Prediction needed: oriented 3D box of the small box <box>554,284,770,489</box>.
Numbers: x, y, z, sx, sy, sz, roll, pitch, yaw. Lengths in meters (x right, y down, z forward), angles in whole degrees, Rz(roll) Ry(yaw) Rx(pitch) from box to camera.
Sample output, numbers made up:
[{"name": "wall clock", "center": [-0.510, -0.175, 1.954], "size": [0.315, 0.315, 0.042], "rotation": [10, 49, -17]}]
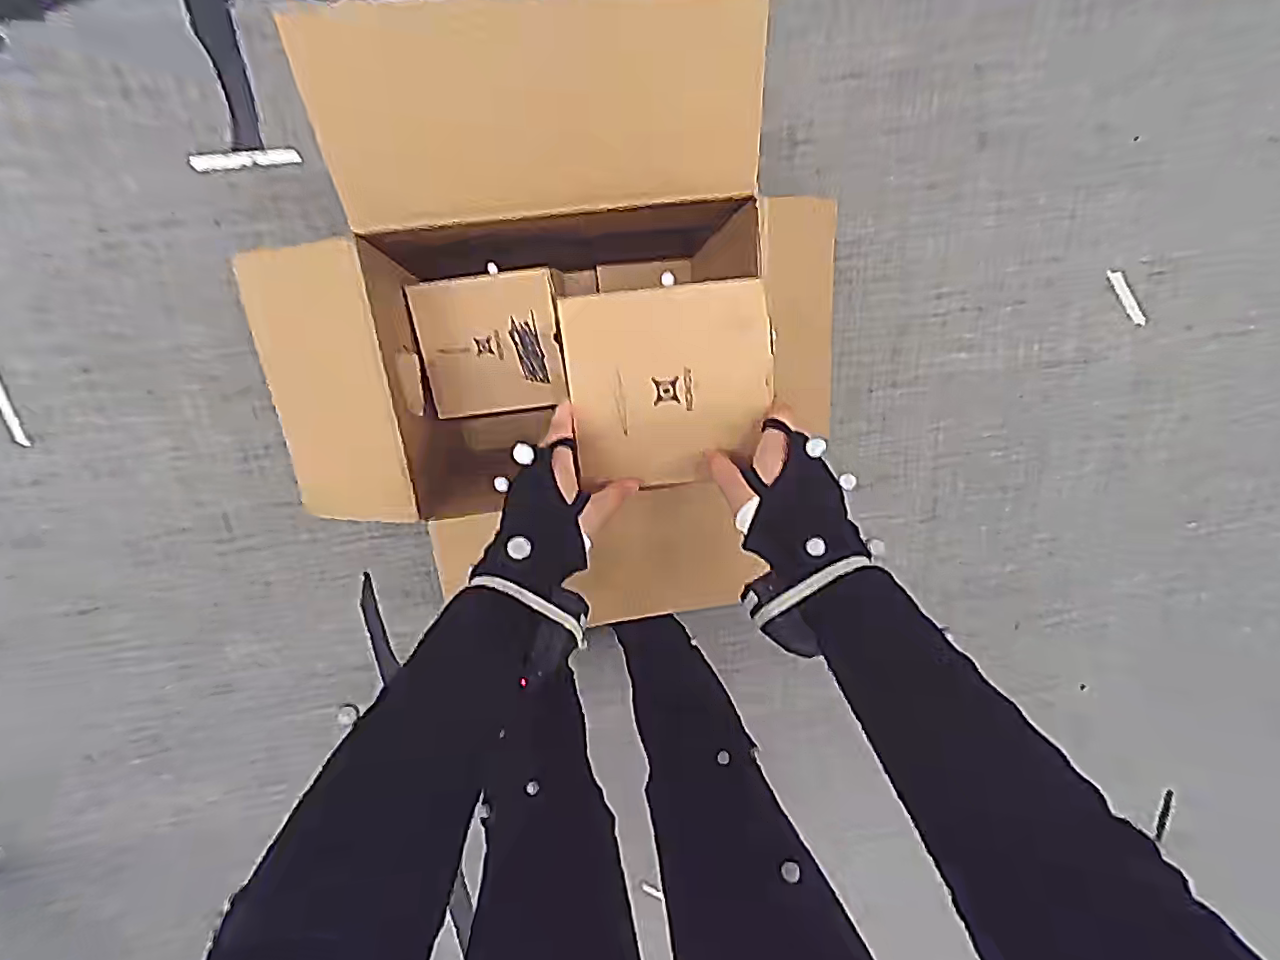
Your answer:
[{"name": "small box", "center": [0.025, -0.096, 0.538], "size": [0.179, 0.176, 0.168], "rotation": [-4, 104, 5]}]
